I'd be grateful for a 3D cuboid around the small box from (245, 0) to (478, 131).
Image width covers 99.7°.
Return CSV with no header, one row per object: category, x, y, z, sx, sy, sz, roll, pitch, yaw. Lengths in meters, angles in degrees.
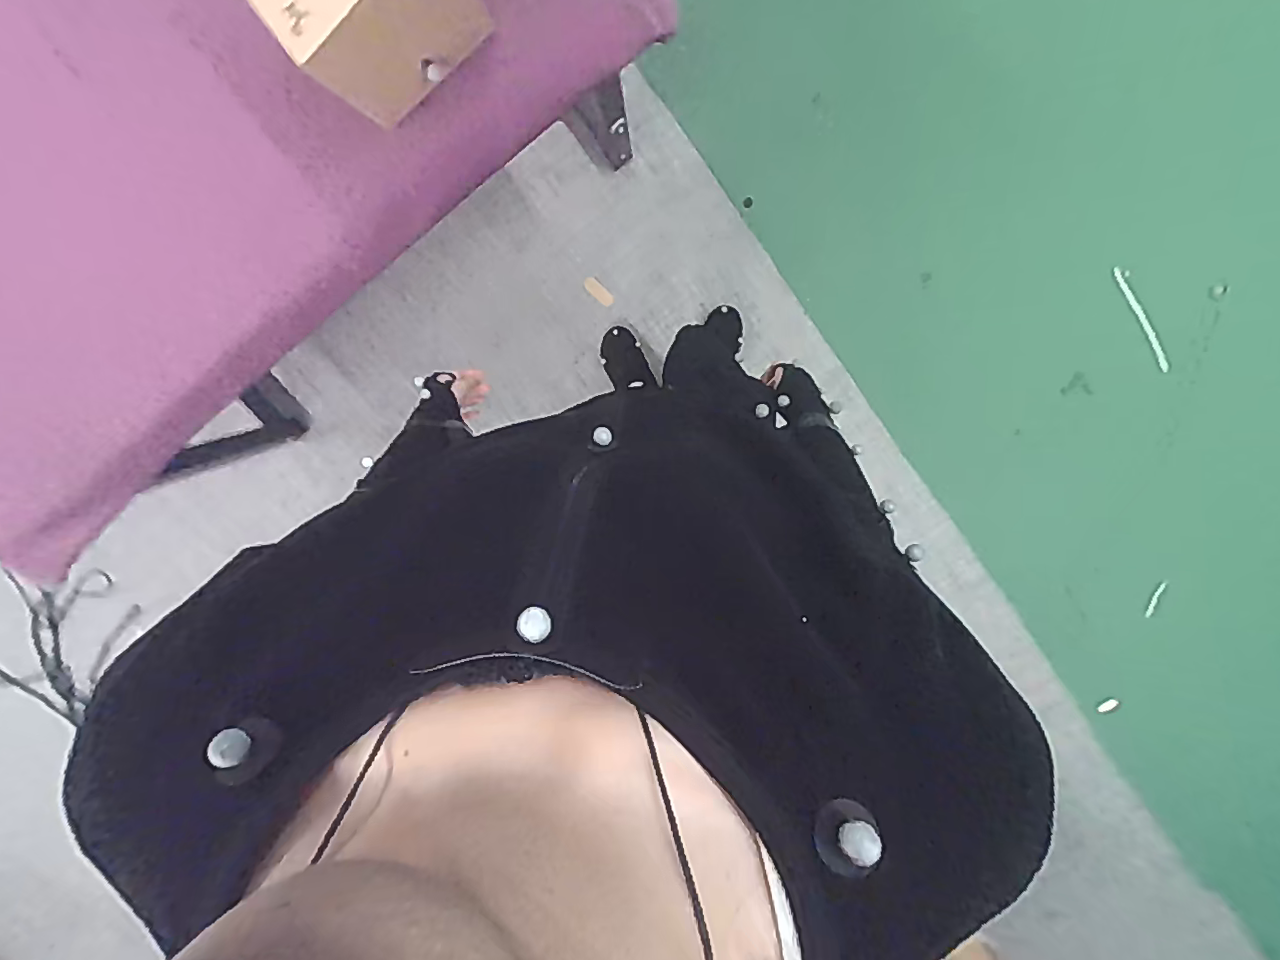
small box,-0.288,-0.507,0.545,0.179,0.176,0.168,-36,99,11
